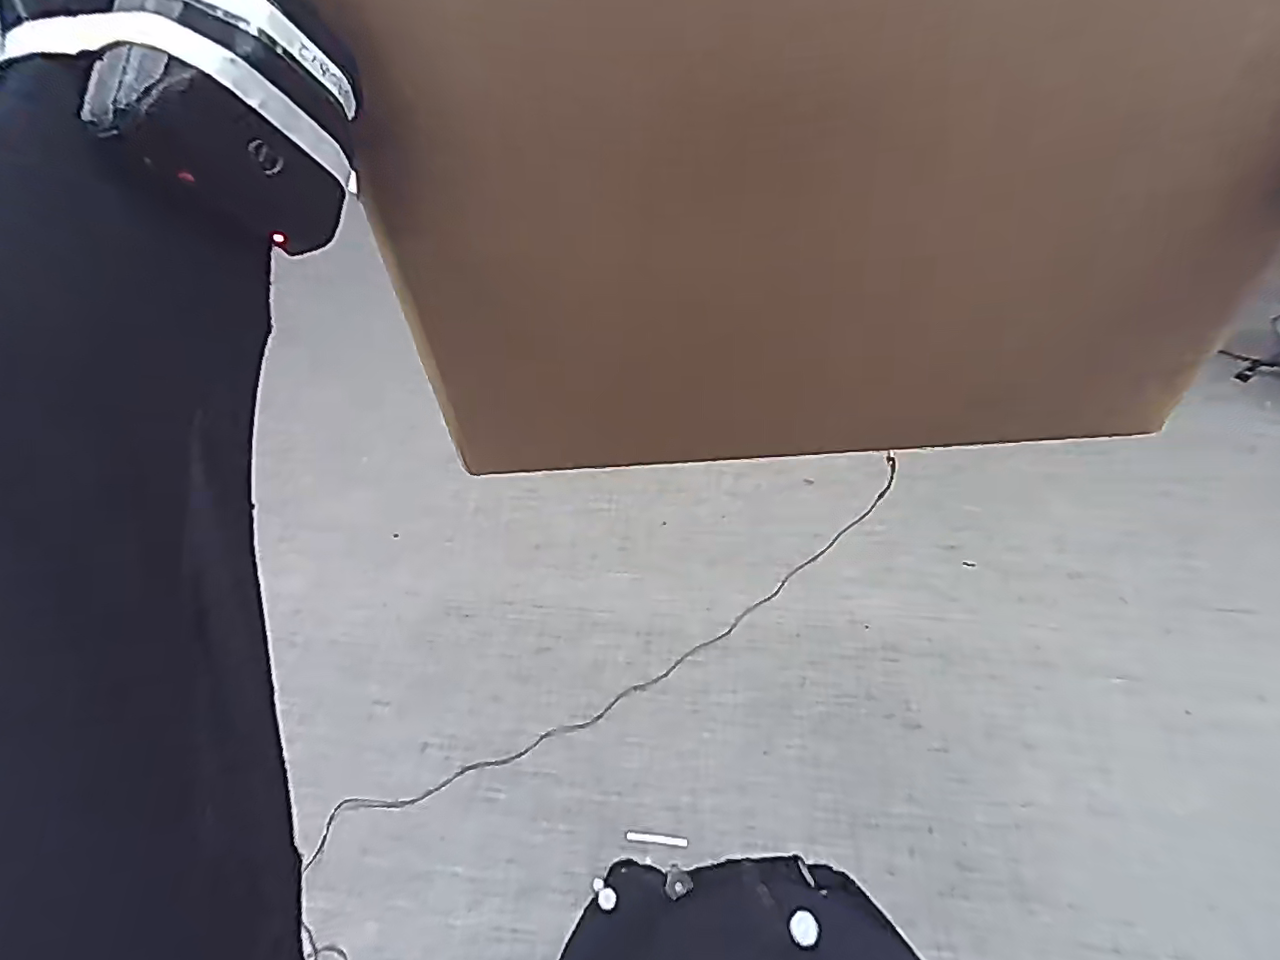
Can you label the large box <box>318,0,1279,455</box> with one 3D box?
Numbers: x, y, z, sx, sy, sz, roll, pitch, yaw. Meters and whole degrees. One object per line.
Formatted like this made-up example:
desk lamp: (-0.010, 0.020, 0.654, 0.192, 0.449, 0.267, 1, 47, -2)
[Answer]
large box: (0.080, -0.235, 0.332, 0.408, 0.320, 0.320, -3, 42, 1)
